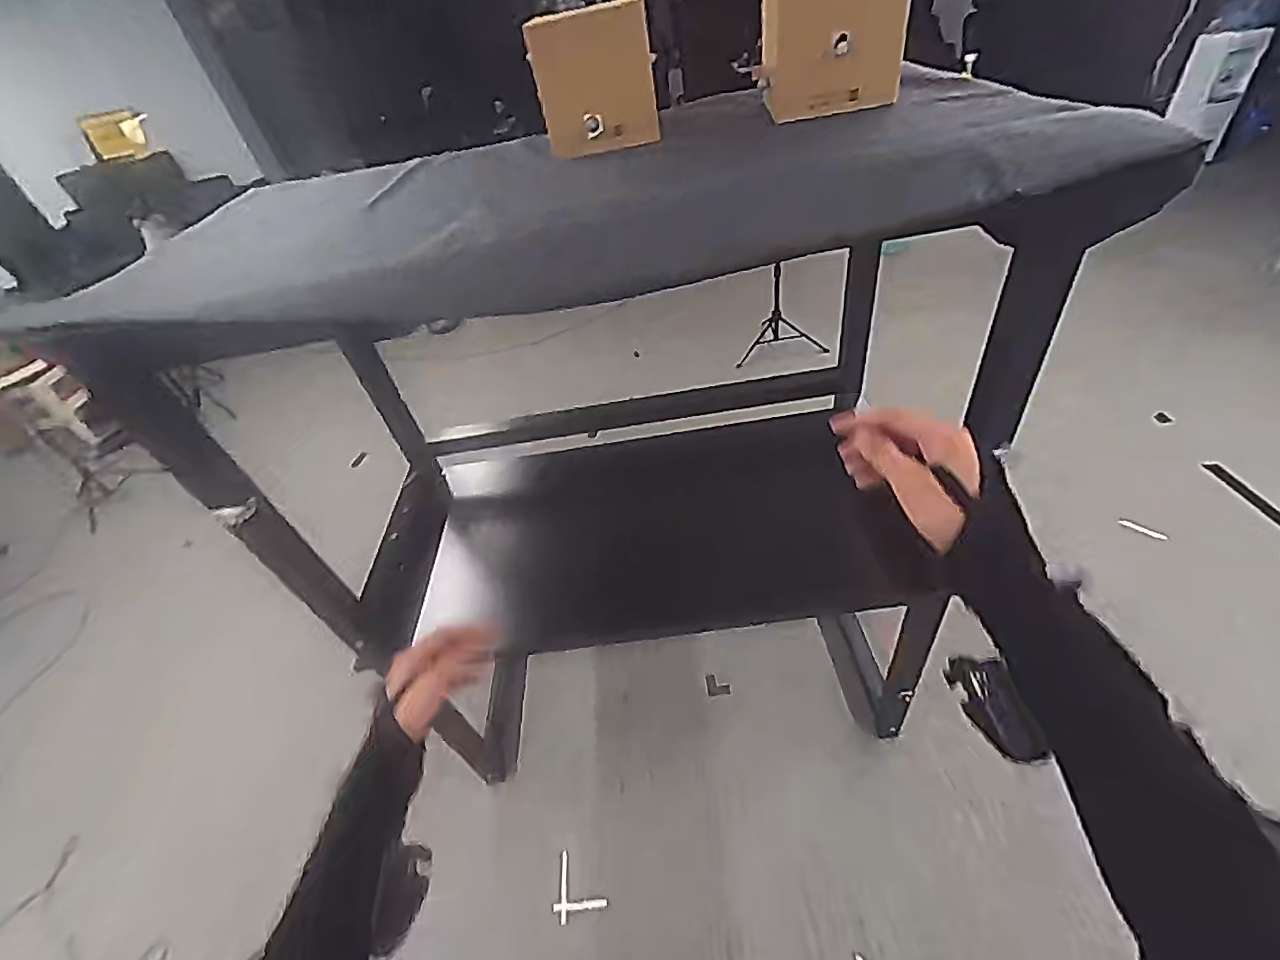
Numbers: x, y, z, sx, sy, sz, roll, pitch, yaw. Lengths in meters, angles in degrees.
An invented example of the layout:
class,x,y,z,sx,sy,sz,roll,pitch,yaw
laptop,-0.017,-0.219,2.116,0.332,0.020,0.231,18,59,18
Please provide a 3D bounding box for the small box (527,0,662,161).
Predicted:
class,x,y,z,sx,sy,sz,roll,pitch,yaw
small box,-0.062,-0.611,0.831,0.168,0.176,0.179,-9,42,5

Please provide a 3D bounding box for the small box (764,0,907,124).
class,x,y,z,sx,sy,sz,roll,pitch,yaw
small box,0.270,-0.628,0.770,0.168,0.176,0.179,-5,44,8
